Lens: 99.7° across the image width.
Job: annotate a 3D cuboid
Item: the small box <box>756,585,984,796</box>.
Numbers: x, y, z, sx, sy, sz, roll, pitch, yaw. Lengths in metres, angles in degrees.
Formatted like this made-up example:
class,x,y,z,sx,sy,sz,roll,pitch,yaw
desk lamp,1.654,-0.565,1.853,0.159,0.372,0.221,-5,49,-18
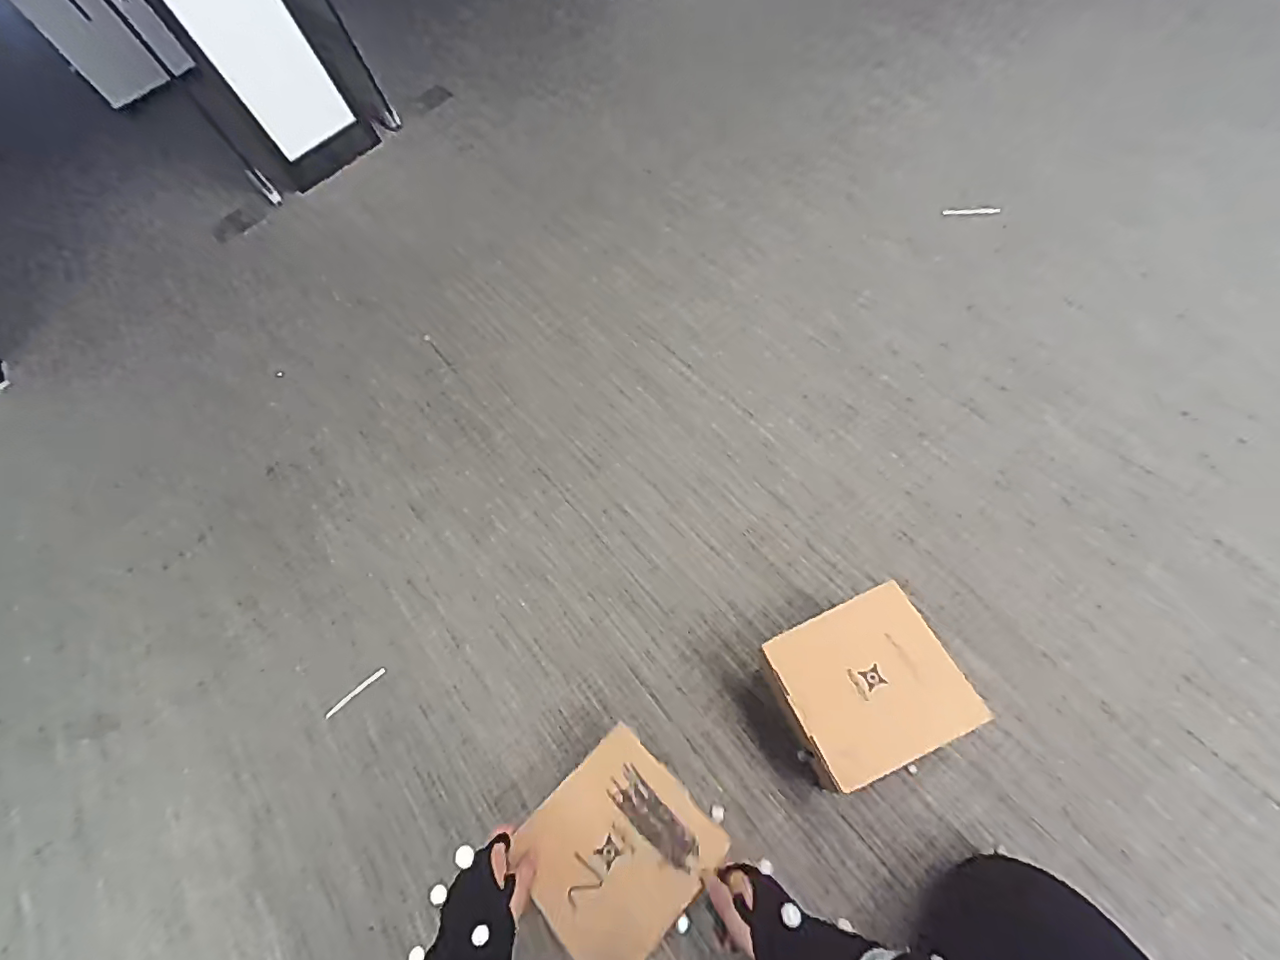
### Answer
class,x,y,z,sx,sy,sz,roll,pitch,yaw
small box,0.255,0.256,0.648,0.179,0.176,0.168,-25,60,-2
